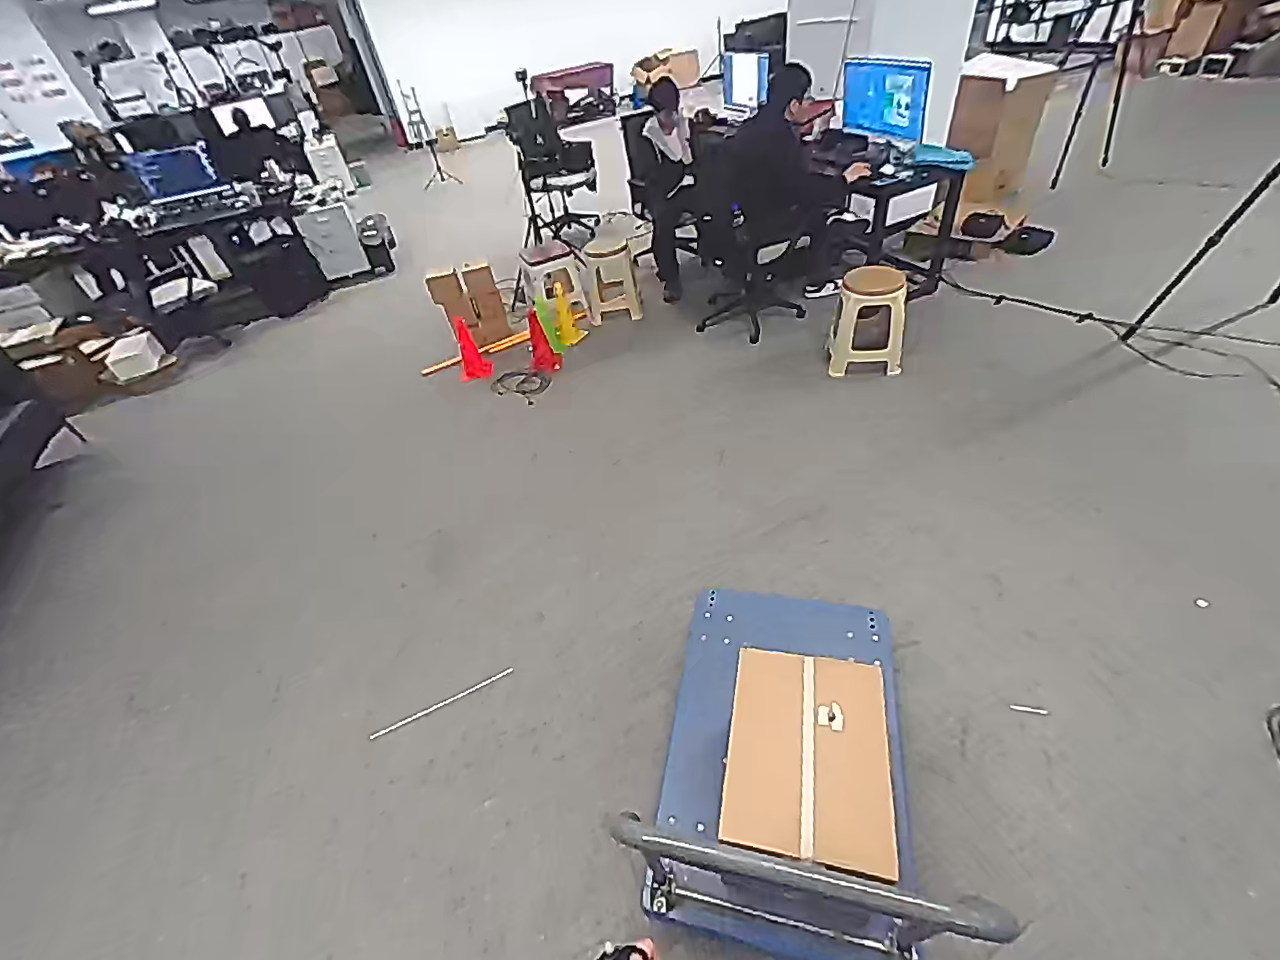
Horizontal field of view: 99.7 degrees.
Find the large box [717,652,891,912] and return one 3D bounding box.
[{"bbox_3d":[0.355,0.663,1.215,0.320,0.320,0.408,5,43,15],"label":"large box"}]
